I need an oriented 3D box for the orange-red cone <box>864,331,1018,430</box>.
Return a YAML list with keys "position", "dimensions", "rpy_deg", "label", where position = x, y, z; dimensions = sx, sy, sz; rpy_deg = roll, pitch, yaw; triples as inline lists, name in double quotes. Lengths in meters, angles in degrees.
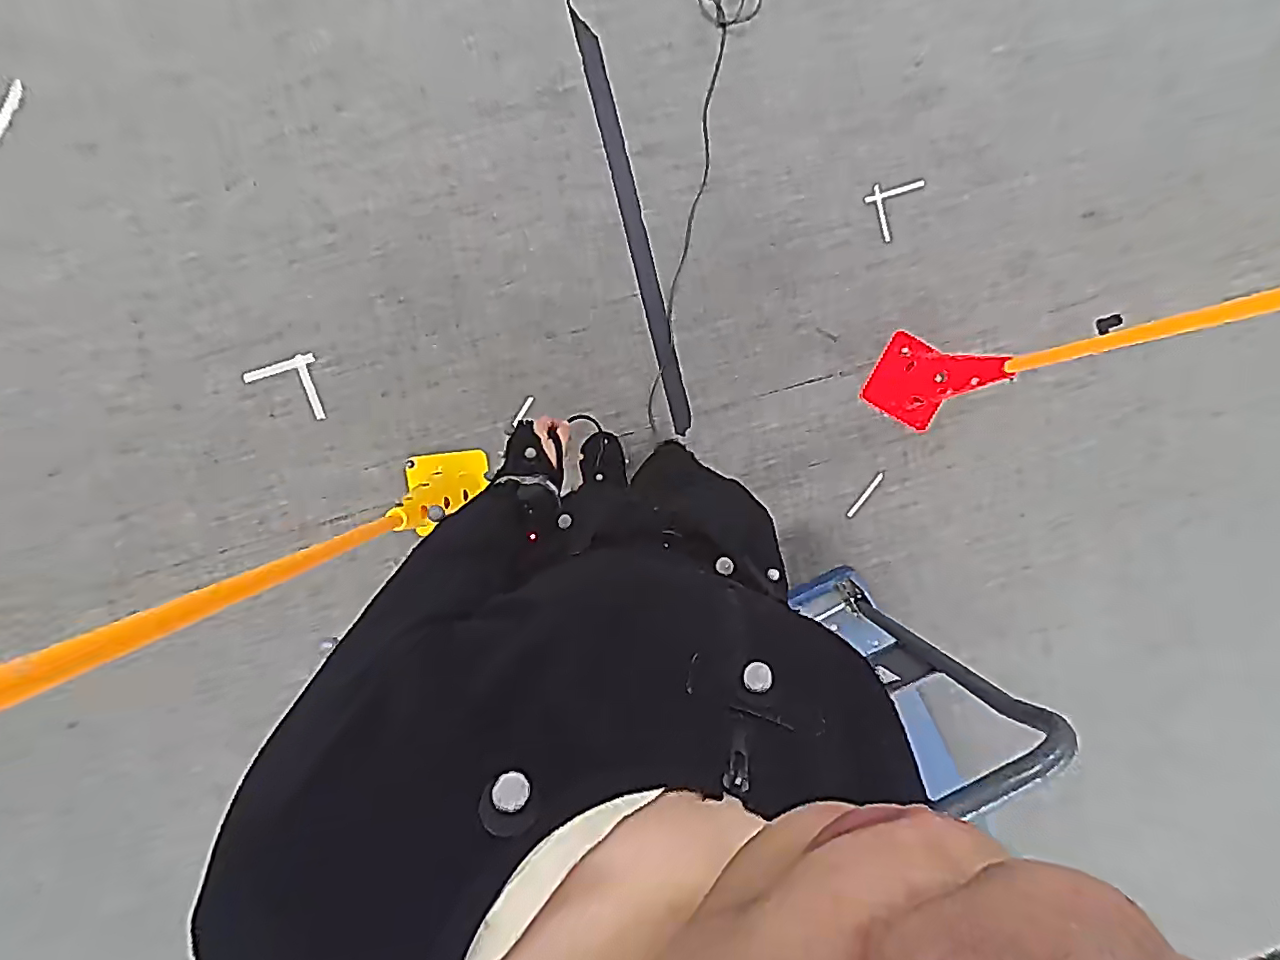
- position: [0.692, -0.231, 1.194]
  dimensions: [0.198, 0.360, 0.199]
  rpy_deg: [30, 95, -5]
  label: "orange-red cone"
